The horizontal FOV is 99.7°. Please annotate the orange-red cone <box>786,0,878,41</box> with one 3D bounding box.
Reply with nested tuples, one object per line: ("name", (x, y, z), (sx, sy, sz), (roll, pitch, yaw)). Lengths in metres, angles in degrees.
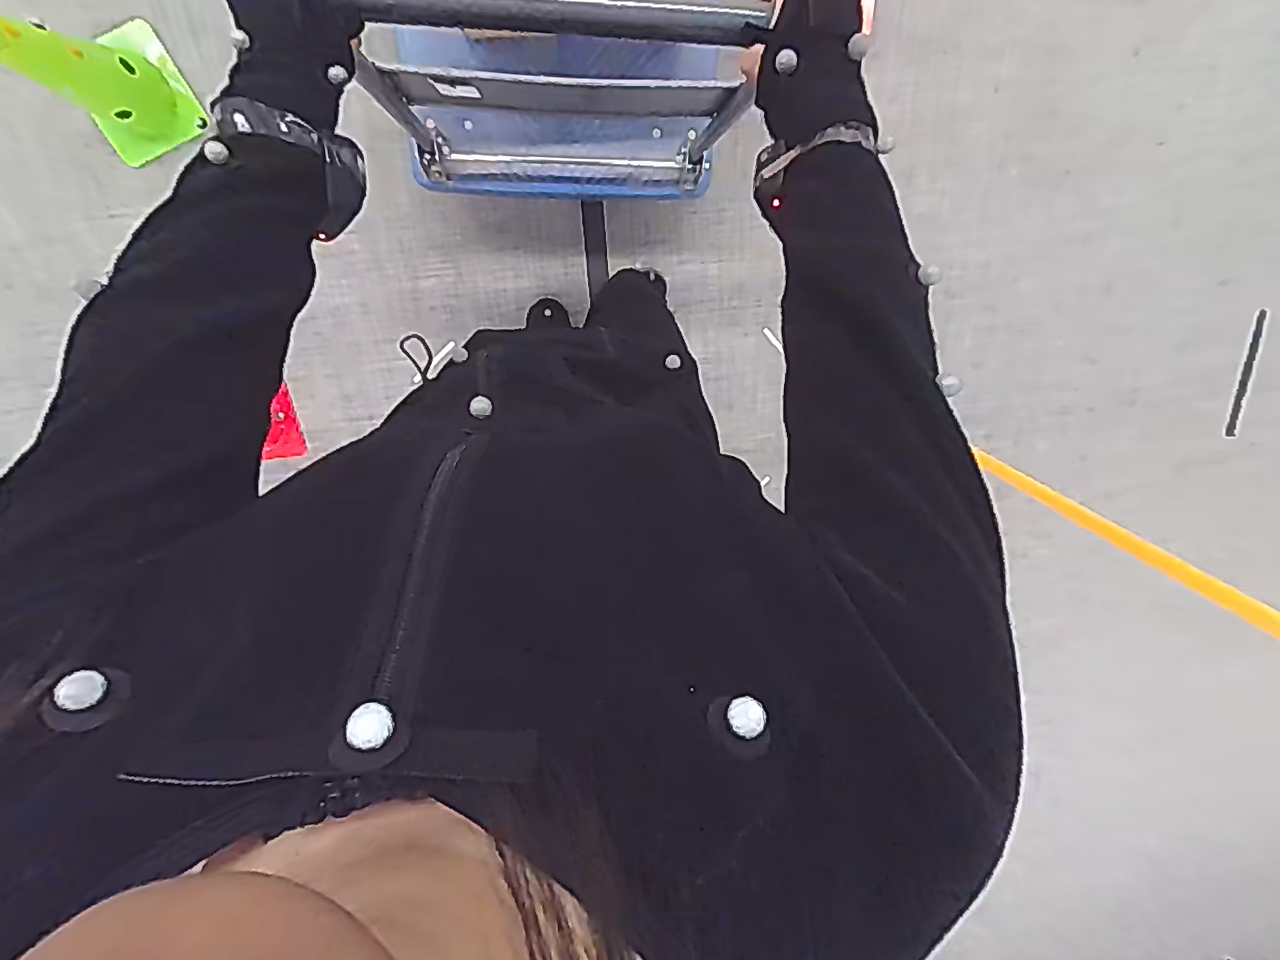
("orange-red cone", (0.430, -0.980, 0.965), (0.199, 0.360, 0.198), (-1, 110, -8))
